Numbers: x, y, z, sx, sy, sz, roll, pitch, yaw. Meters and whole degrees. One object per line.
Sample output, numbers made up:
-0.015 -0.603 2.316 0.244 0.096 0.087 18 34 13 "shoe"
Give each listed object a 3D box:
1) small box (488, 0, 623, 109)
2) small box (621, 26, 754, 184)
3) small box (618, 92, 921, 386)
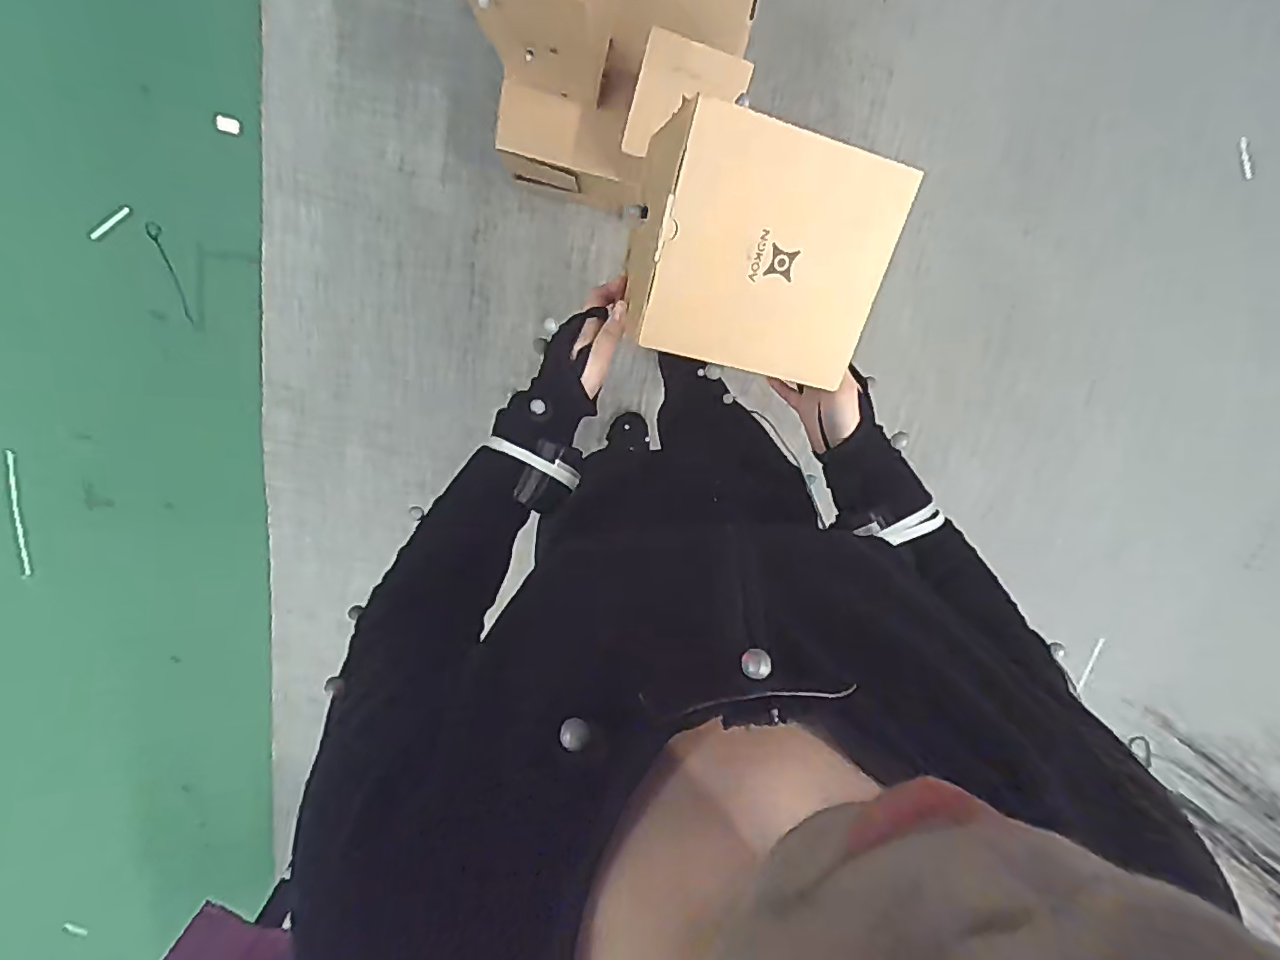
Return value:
-0.124 -0.738 0.857 0.168 0.176 0.179 16 104 -5 "small box"
0.069 -0.590 0.904 0.168 0.176 0.179 15 104 -8 "small box"
0.088 -0.196 0.466 0.179 0.176 0.168 10 112 -12 "small box"
